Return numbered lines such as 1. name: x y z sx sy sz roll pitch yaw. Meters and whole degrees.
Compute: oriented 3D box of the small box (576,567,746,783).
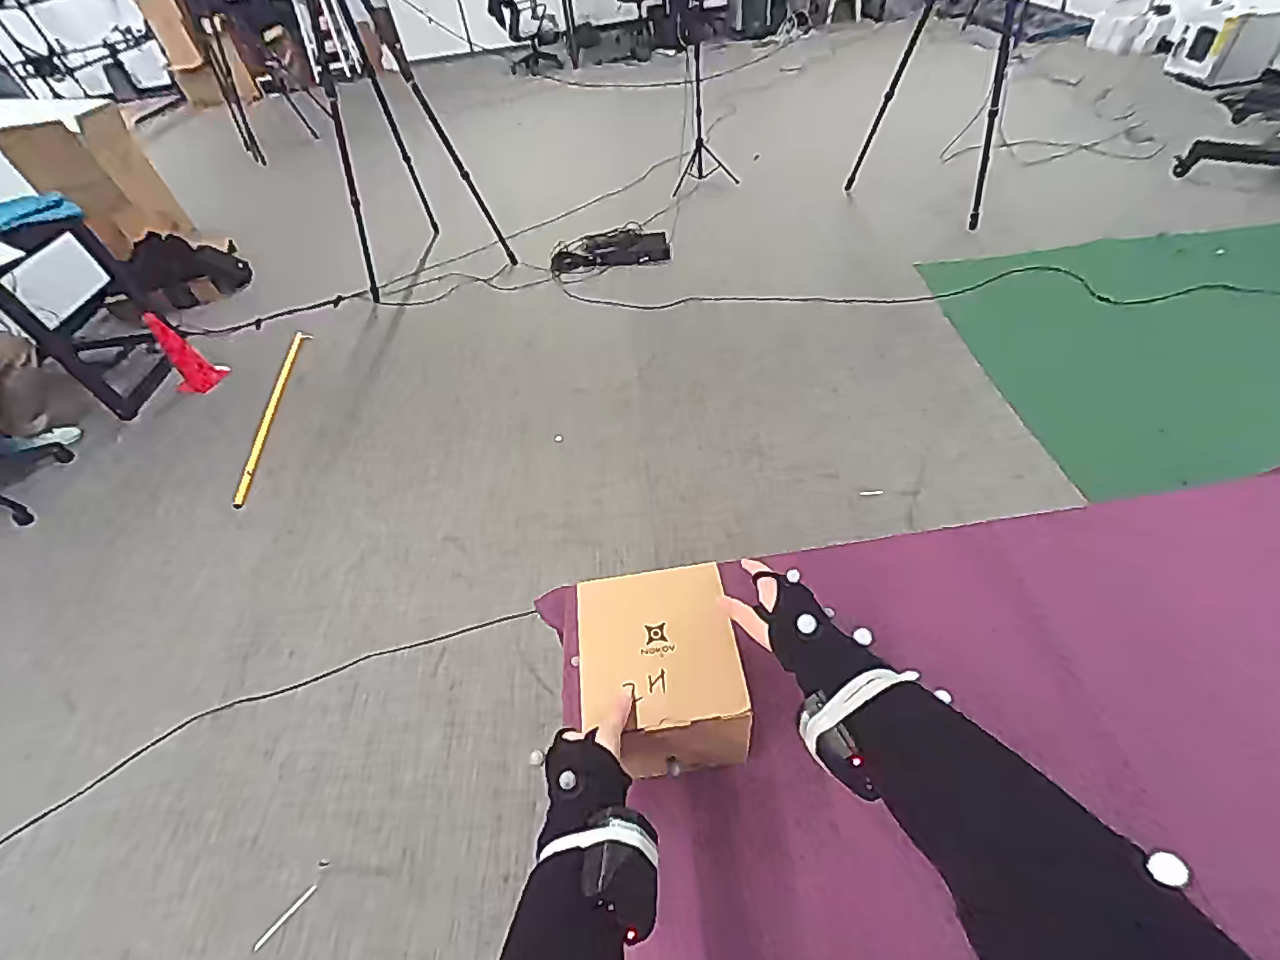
1. small box: 0.021 0.227 0.629 0.168 0.176 0.179 -9 48 1
